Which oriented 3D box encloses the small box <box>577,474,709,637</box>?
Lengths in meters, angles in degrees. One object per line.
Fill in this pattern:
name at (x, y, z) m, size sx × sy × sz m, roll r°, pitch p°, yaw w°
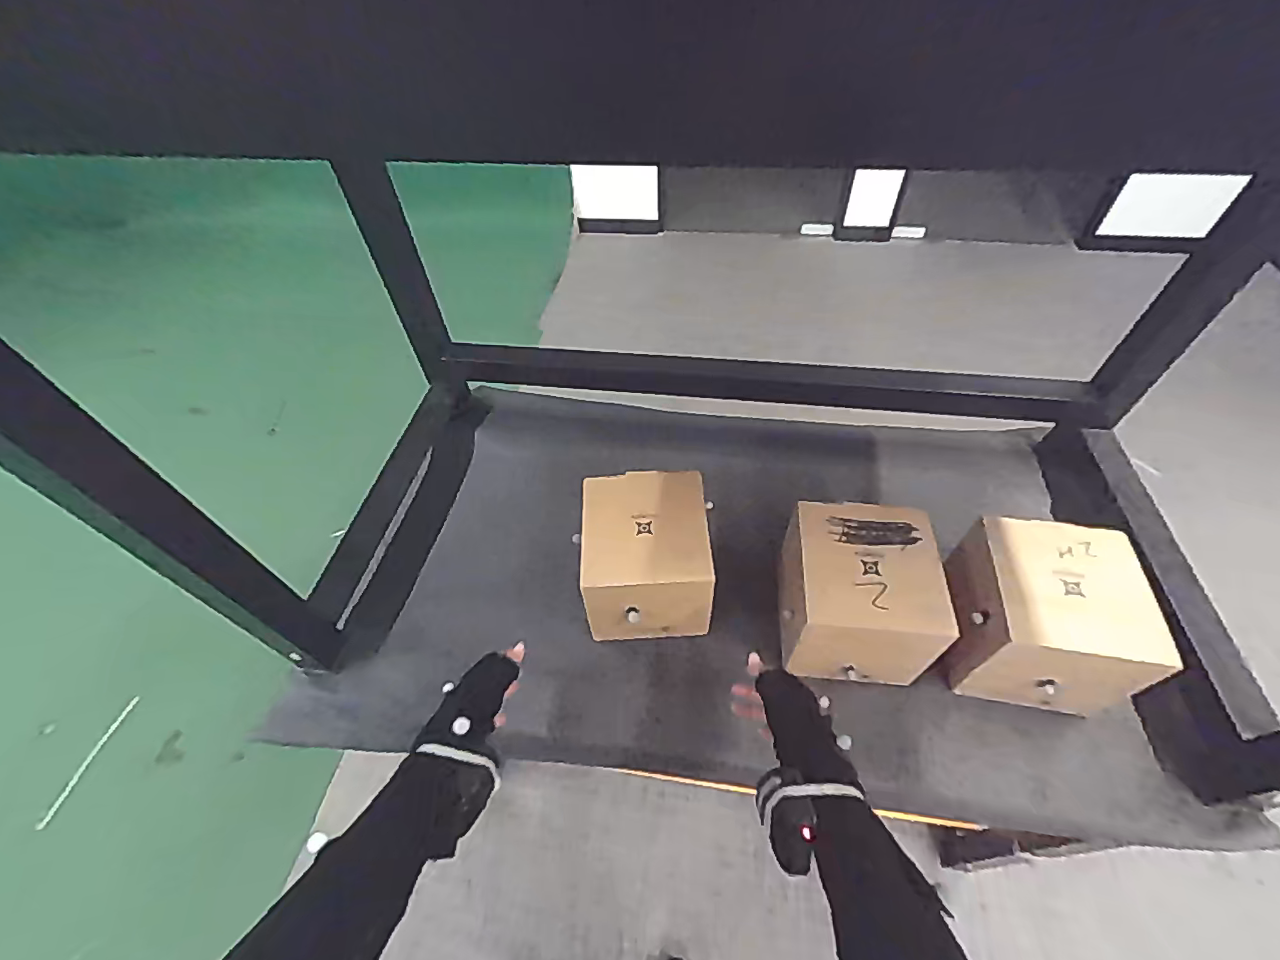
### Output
small box at (0.006, 0.114, 0.768) m, size 0.168 × 0.176 × 0.179 m, roll -3°, pitch 50°, yaw 0°
